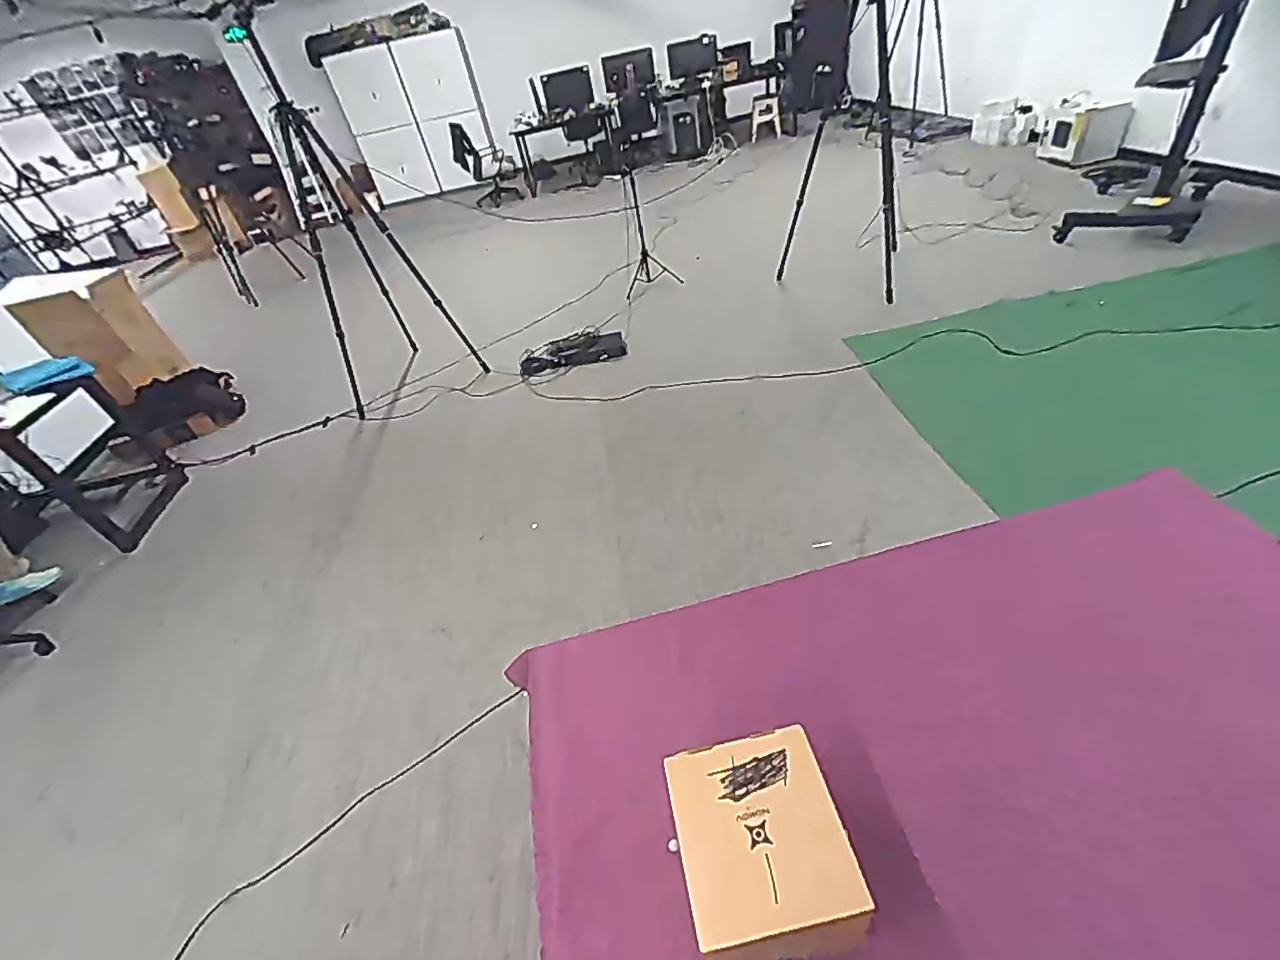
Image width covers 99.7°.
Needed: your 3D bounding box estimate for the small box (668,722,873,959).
[{"bbox_3d":[0.136,0.411,0.609,0.168,0.176,0.179,-14,41,0],"label":"small box"}]
